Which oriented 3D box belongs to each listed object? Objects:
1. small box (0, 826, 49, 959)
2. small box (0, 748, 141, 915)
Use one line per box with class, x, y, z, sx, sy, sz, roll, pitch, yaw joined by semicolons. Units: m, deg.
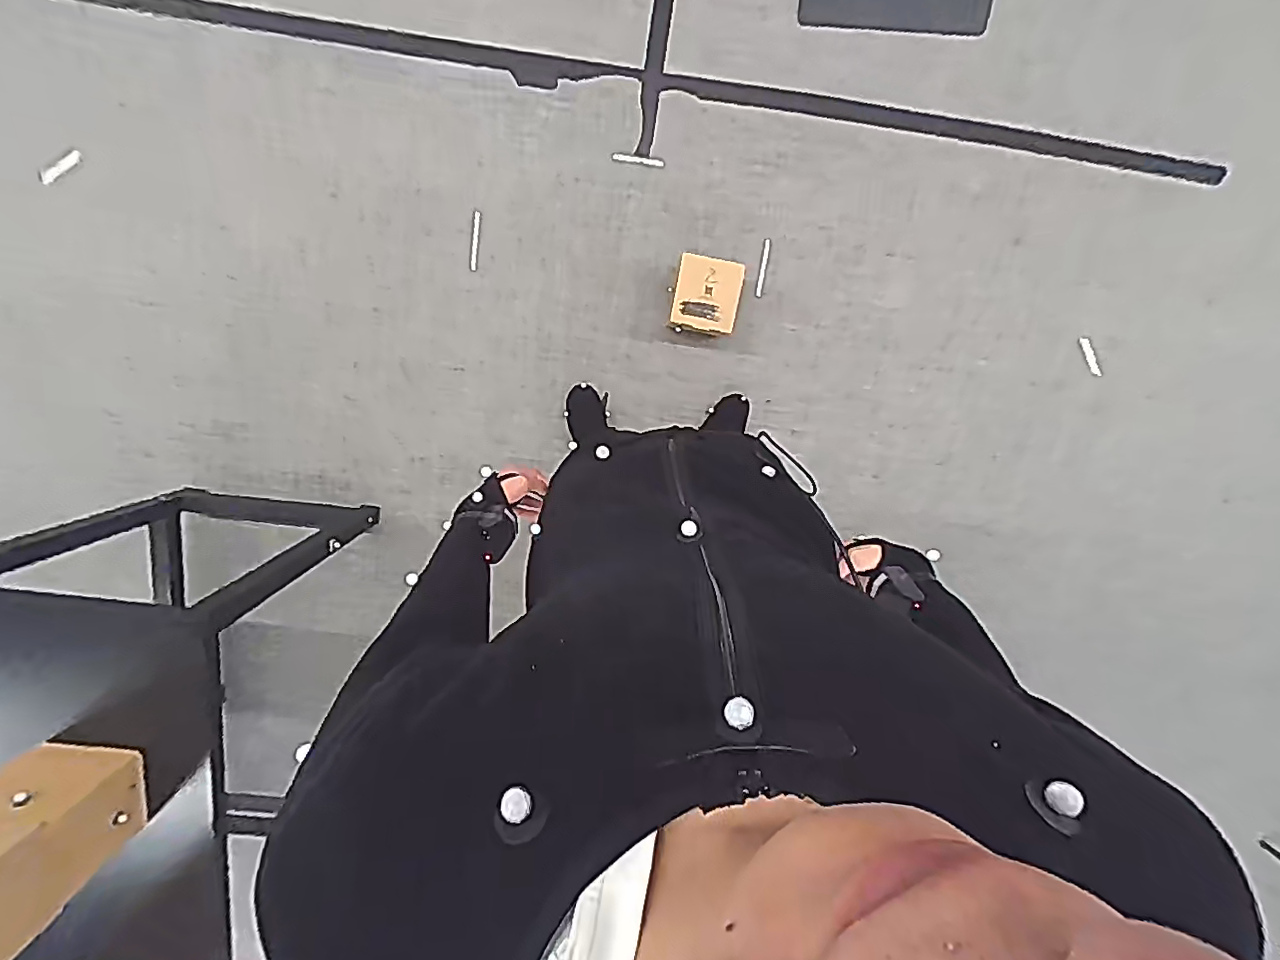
small box;-0.998;0.622;0.756;0.168;0.176;0.179;4;102;-3
small box;-1.008;0.585;0.916;0.179;0.176;0.168;7;103;-3
